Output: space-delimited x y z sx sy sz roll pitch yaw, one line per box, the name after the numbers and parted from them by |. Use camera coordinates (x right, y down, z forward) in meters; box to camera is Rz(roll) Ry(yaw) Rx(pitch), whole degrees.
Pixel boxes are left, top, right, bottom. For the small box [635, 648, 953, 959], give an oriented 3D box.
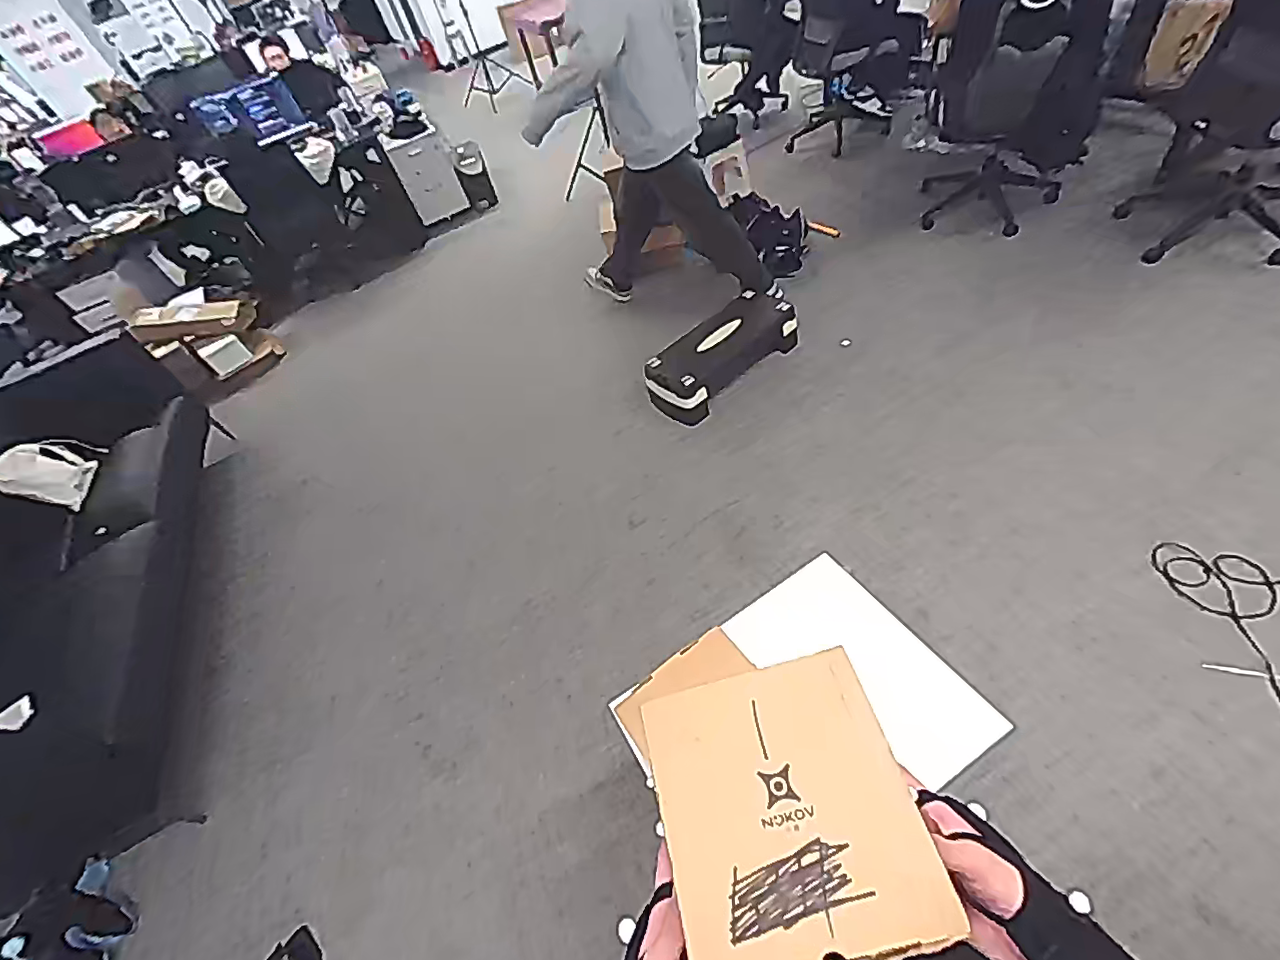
0.106 0.261 0.429 0.168 0.176 0.179 -16 53 2 | small box

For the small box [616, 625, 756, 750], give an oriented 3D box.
0.098 0.322 0.669 0.168 0.176 0.179 -35 49 -12 | small box
